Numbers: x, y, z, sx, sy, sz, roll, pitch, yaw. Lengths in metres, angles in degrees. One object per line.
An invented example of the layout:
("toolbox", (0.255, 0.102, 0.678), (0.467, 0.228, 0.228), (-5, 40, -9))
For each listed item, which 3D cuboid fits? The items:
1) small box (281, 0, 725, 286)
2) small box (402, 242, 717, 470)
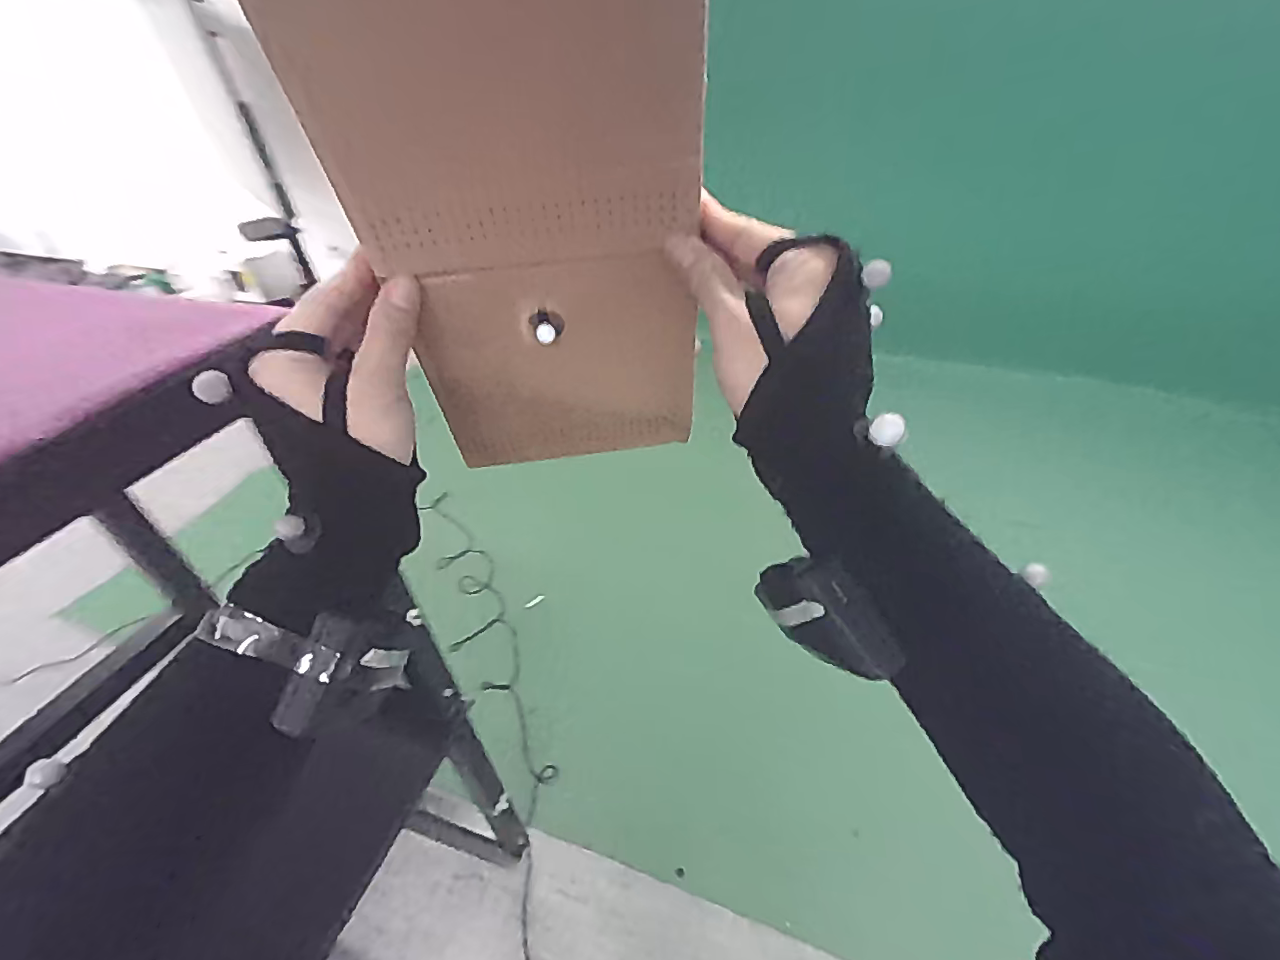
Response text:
("small box", (-0.055, -0.216, 0.272), (0.179, 0.176, 0.168), (-5, 53, -1))
("small box", (-0.045, -0.121, 0.402), (0.179, 0.176, 0.168), (-5, 53, -2))
